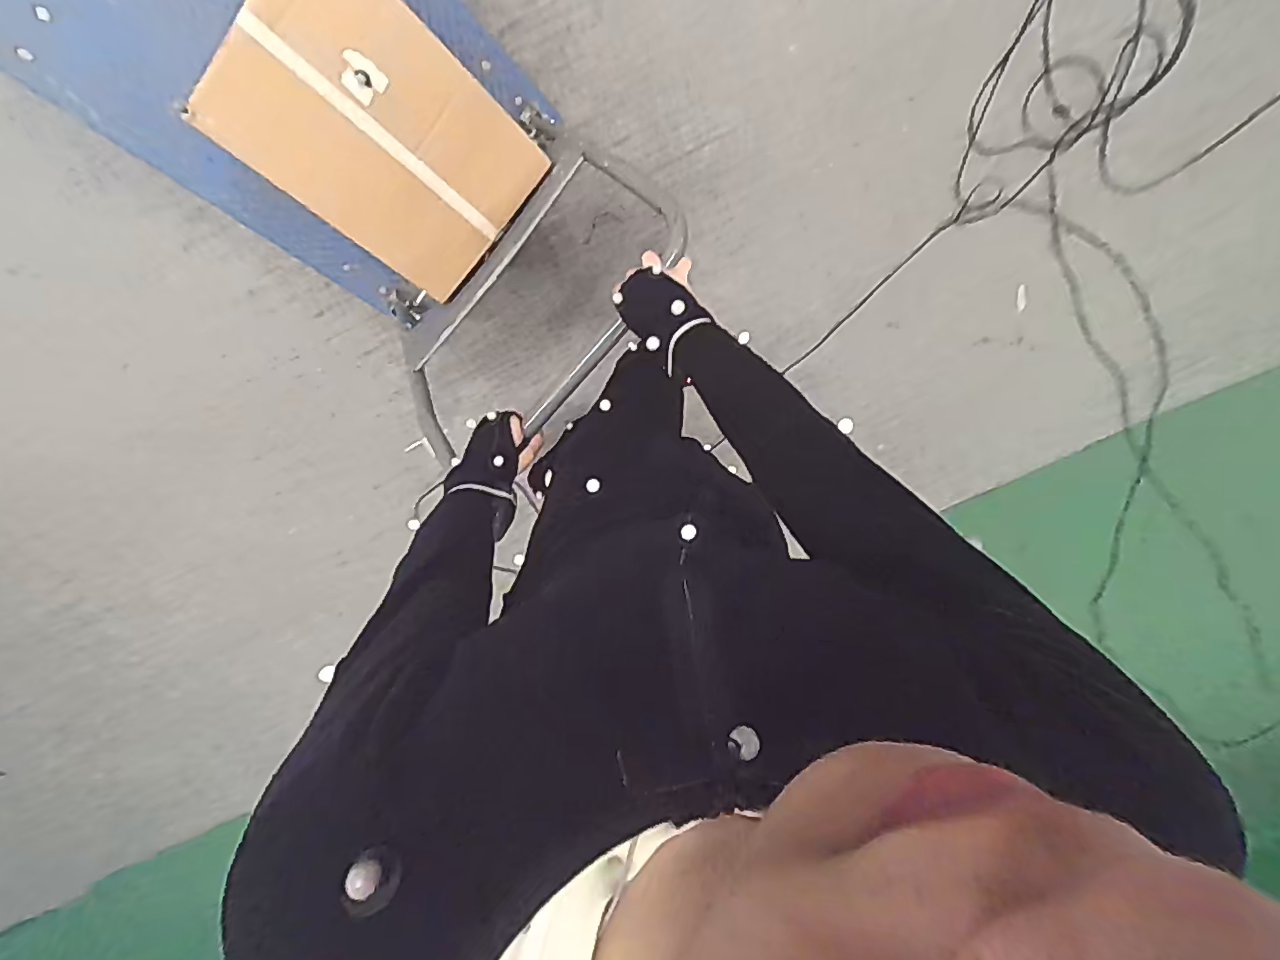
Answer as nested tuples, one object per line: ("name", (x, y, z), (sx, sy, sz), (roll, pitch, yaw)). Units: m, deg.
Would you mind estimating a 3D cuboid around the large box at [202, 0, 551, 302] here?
("large box", (-0.430, -0.600, 0.952), (0.320, 0.320, 0.408), (-46, 131, 13))
